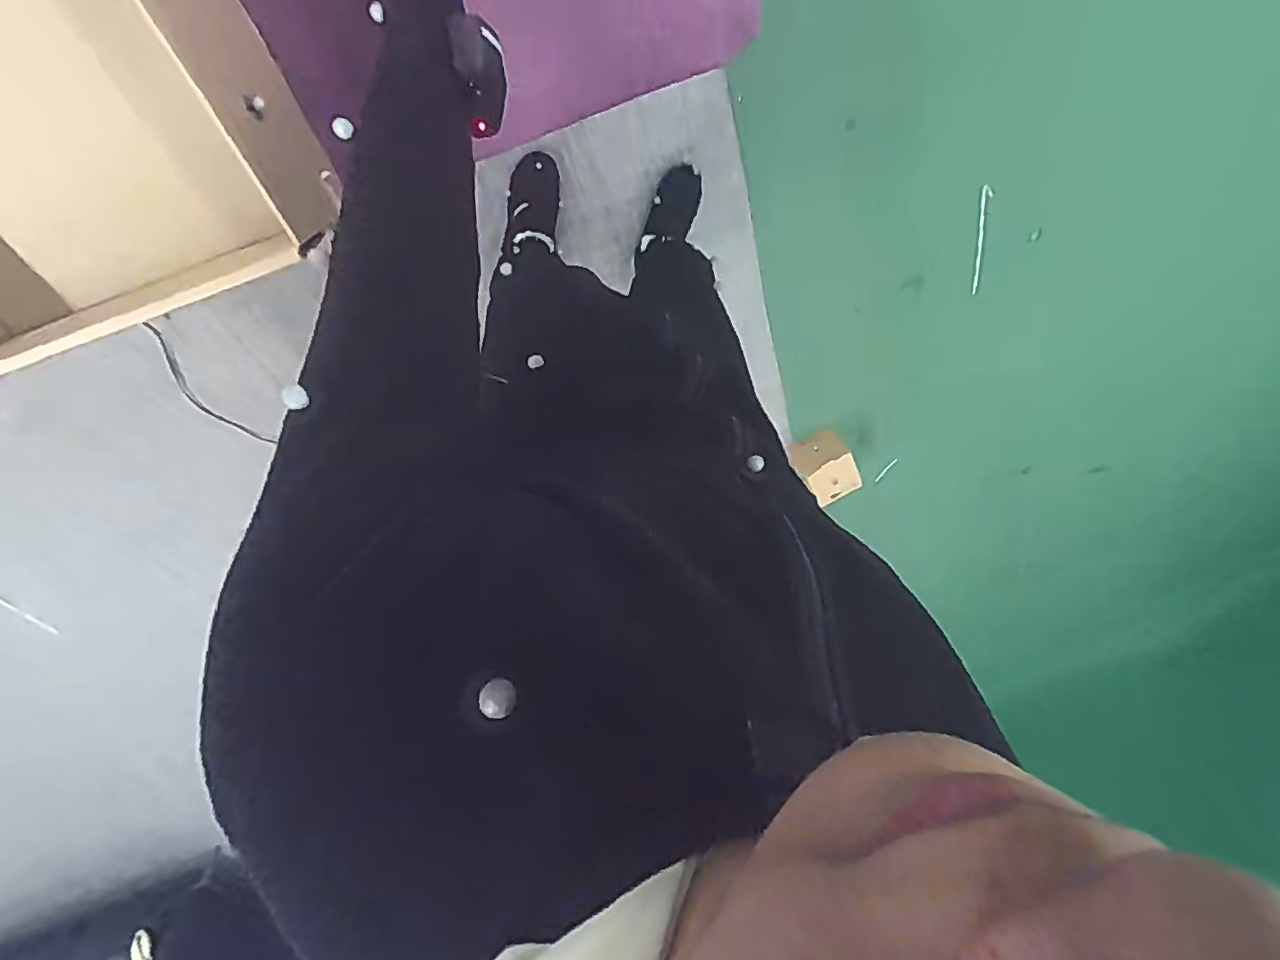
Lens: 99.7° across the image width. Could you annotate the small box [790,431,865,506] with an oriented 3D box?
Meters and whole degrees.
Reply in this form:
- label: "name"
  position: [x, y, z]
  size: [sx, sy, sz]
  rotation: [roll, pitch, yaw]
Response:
- label: "small box"
  position: [0.647, -0.049, 1.876]
  size: [0.168, 0.176, 0.179]
  rotation: [-30, 127, 9]
